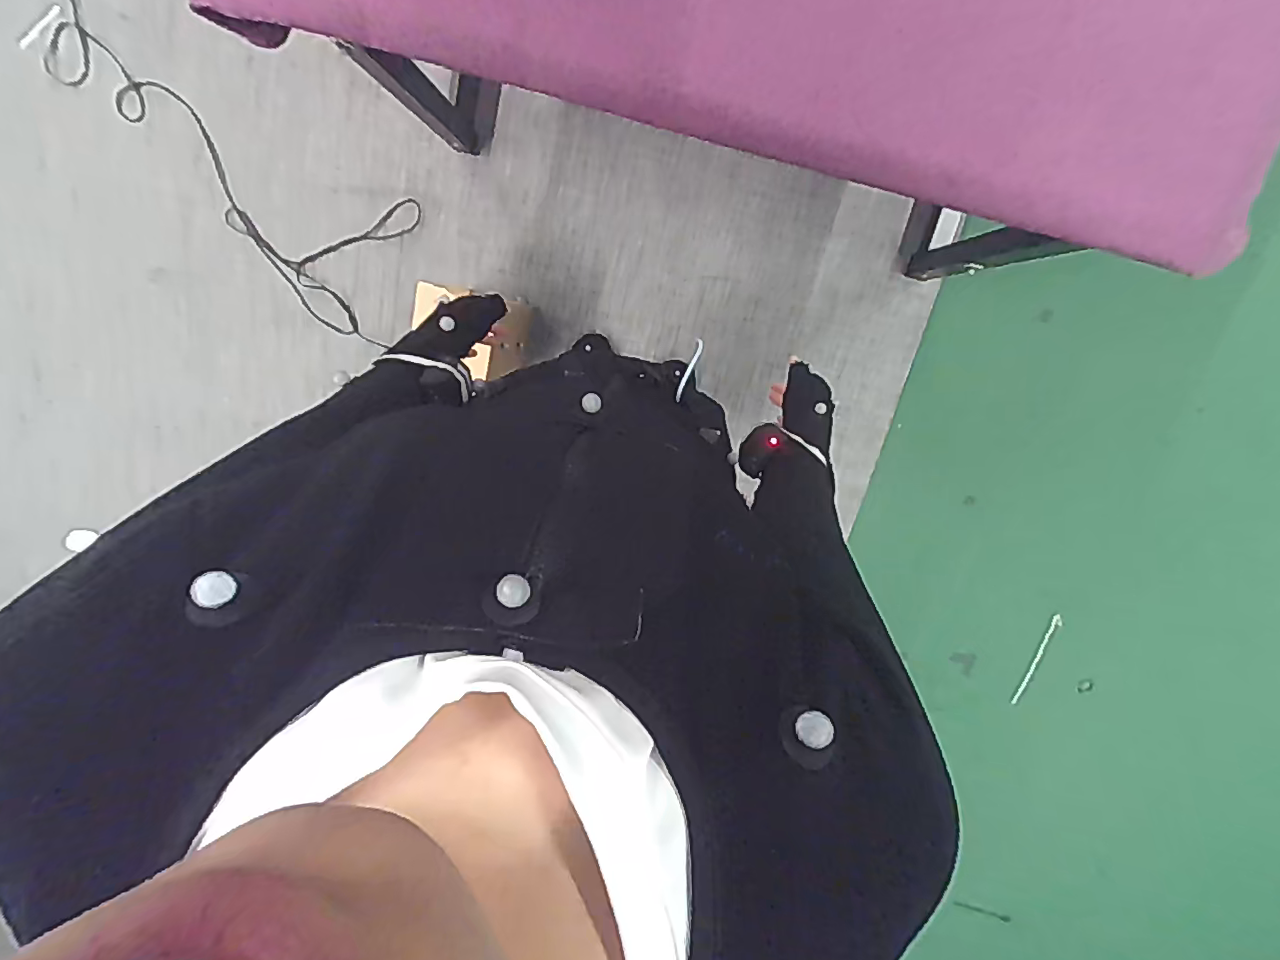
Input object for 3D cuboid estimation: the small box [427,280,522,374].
[{"bbox_3d":[-0.396,-0.373,1.322,0.168,0.176,0.179,16,107,-3],"label":"small box"}]
